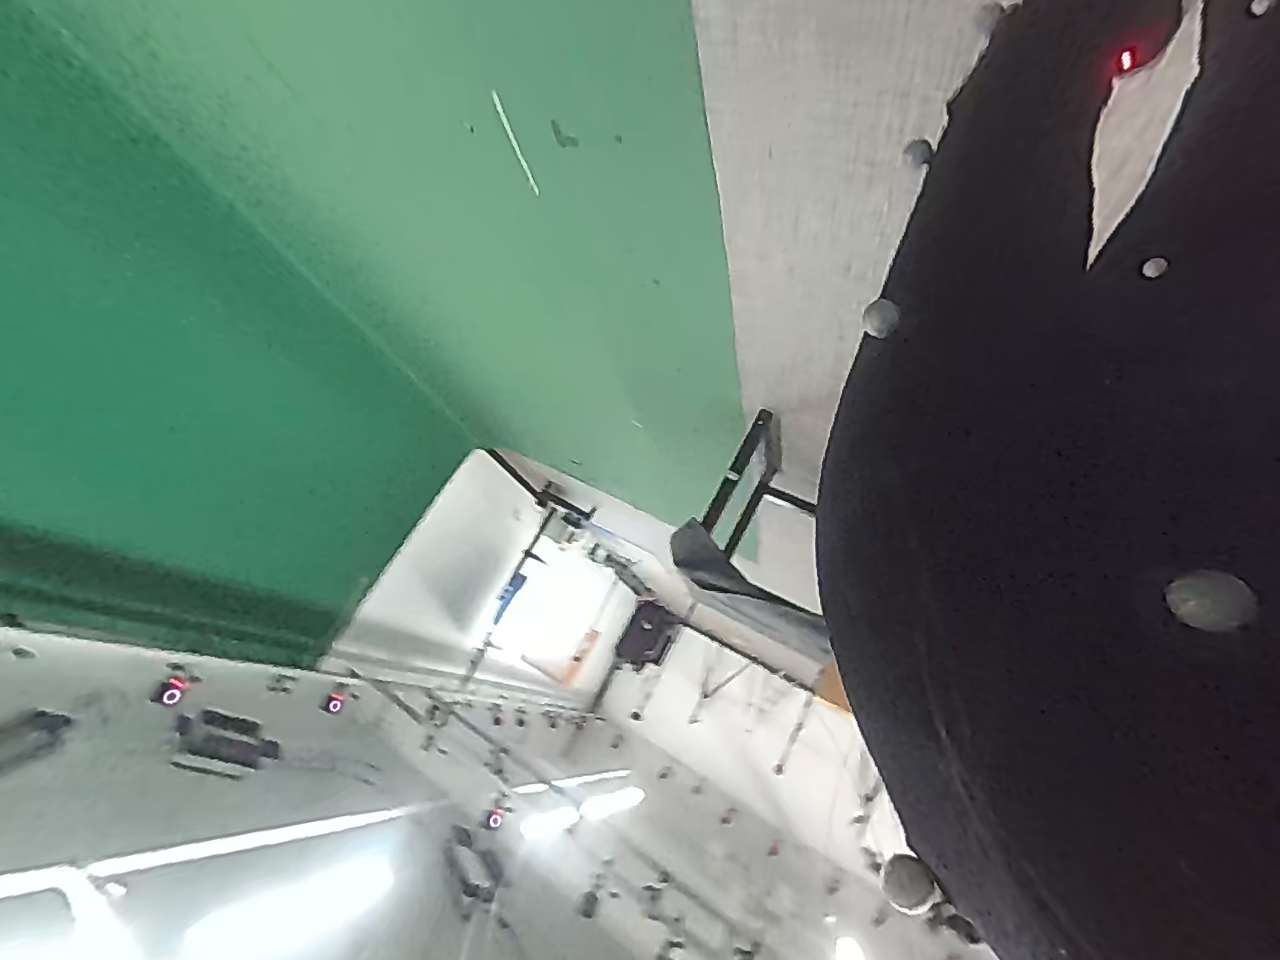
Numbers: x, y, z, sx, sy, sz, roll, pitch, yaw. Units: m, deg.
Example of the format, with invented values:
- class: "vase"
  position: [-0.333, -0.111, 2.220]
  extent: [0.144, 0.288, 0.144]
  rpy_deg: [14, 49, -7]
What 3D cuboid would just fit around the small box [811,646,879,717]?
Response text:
- class: "small box"
  position: [0.707, 0.698, 1.872]
  extent: [0.168, 0.176, 0.179]
  rpy_deg: [24, 162, 24]
